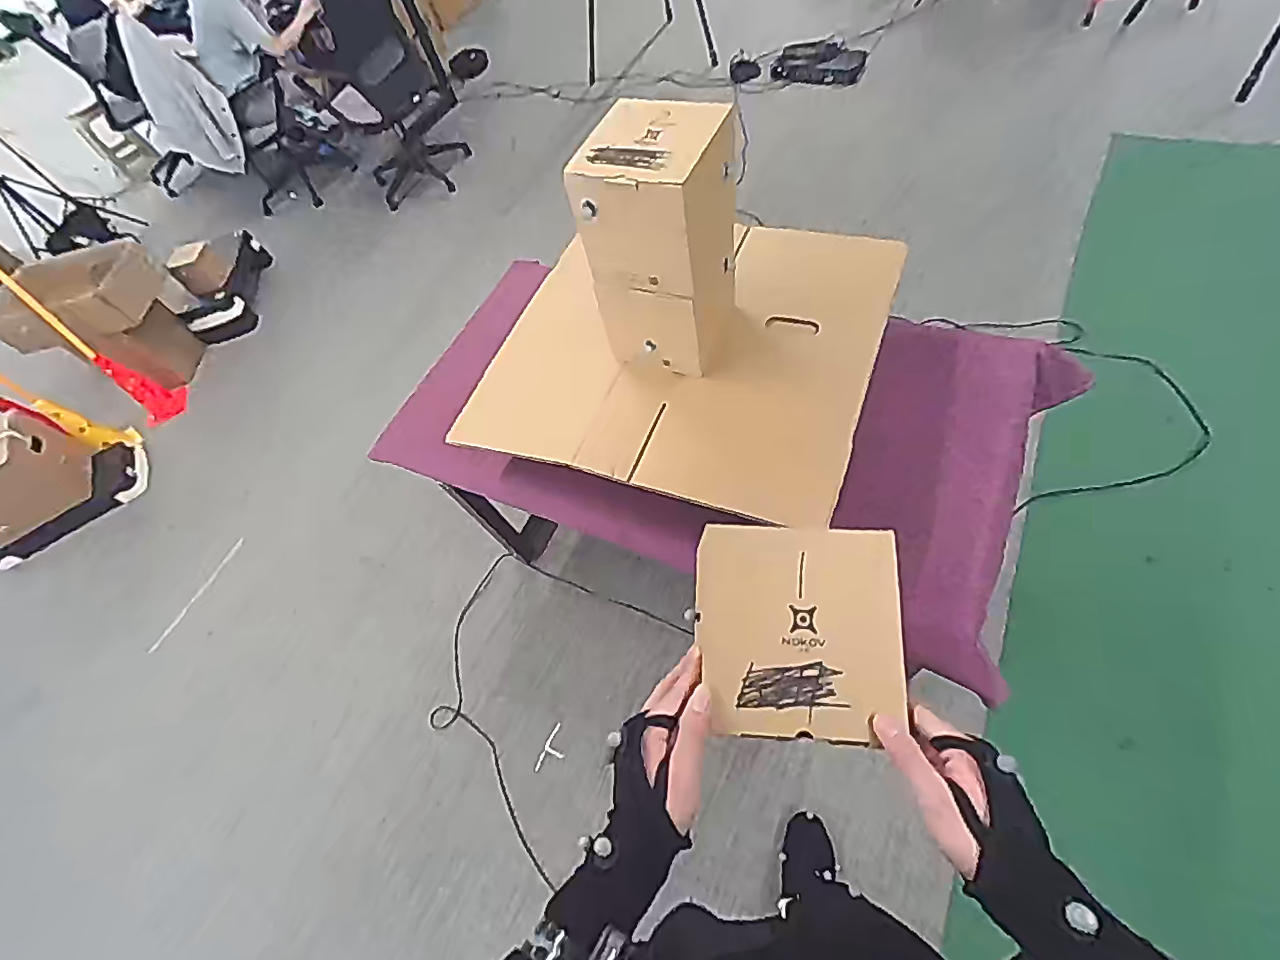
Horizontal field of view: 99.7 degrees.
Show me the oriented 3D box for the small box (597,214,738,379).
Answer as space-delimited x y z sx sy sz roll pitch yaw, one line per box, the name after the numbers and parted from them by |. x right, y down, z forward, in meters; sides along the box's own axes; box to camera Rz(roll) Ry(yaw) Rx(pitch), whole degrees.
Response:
0.054 -0.298 0.885 0.168 0.176 0.179 17 65 20 | small box

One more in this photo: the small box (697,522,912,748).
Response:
0.143 0.144 0.528 0.168 0.176 0.179 2 75 4 | small box
